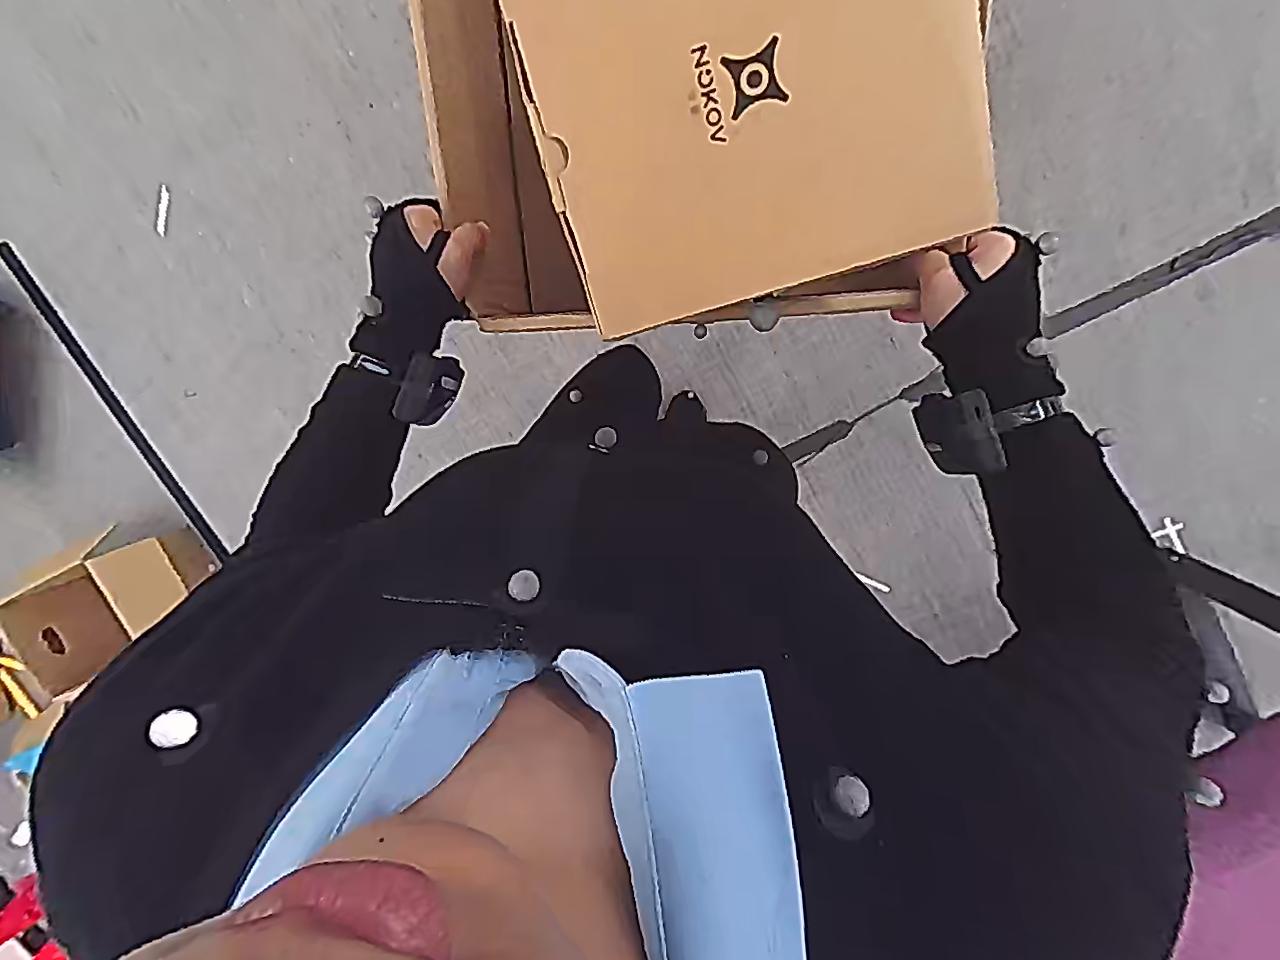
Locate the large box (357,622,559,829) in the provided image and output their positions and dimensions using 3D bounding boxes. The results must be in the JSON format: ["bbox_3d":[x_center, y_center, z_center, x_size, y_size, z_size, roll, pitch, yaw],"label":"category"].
[{"bbox_3d":[-0.509,0.695,1.576,0.408,0.320,0.320,34,106,-3],"label":"large box"}]
